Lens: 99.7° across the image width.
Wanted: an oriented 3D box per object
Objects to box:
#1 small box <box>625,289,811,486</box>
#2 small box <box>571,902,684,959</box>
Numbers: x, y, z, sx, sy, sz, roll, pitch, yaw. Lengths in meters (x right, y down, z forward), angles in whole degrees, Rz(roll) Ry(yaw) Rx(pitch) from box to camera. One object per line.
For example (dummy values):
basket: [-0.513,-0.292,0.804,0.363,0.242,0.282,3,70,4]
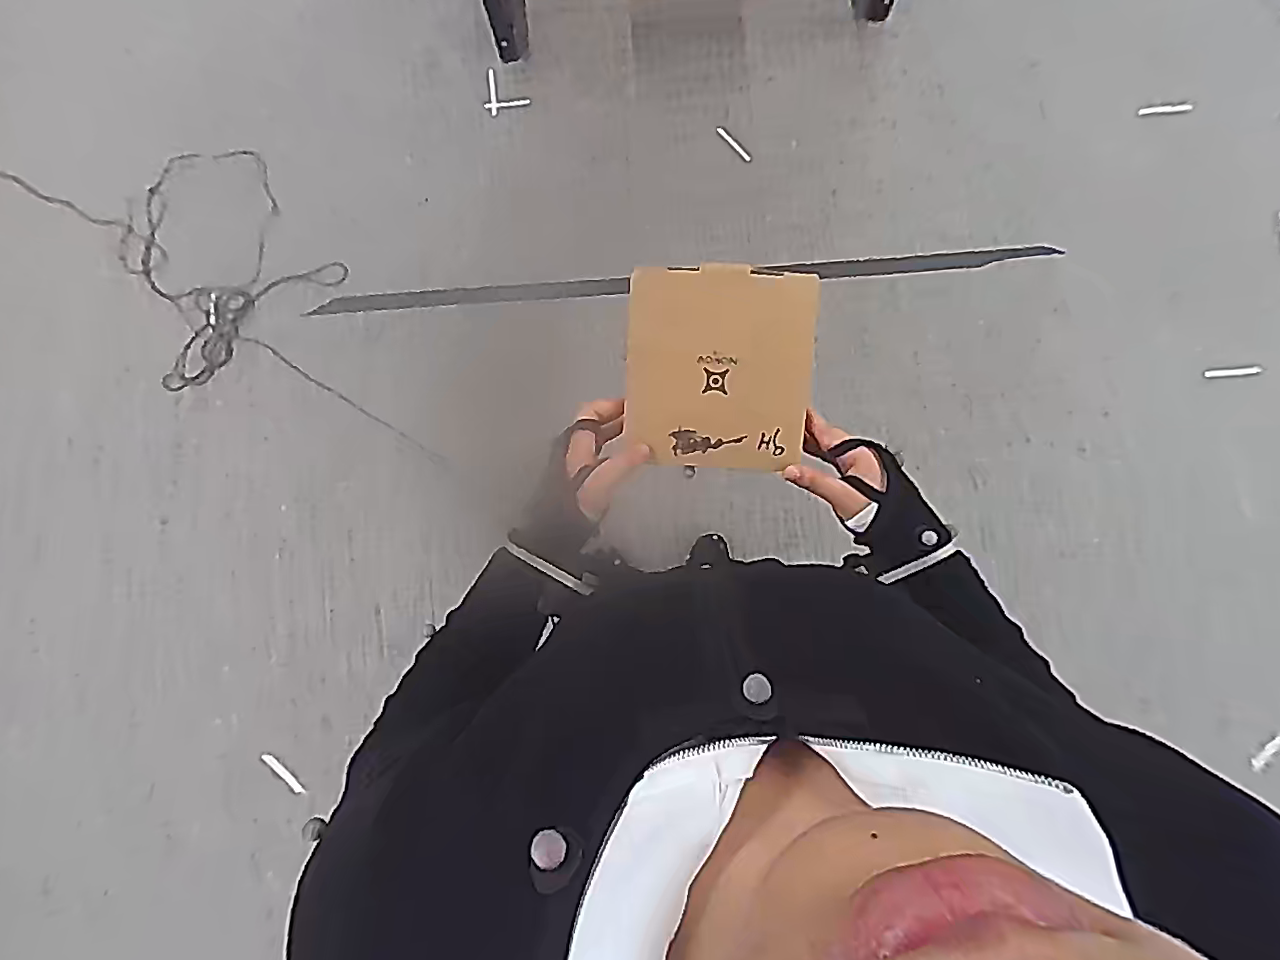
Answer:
small box: [0.073,-0.095,0.582,0.168,0.176,0.179,3,99,2]
small box: [-0.015,0.842,0.895,0.179,0.176,0.168,-6,83,2]
